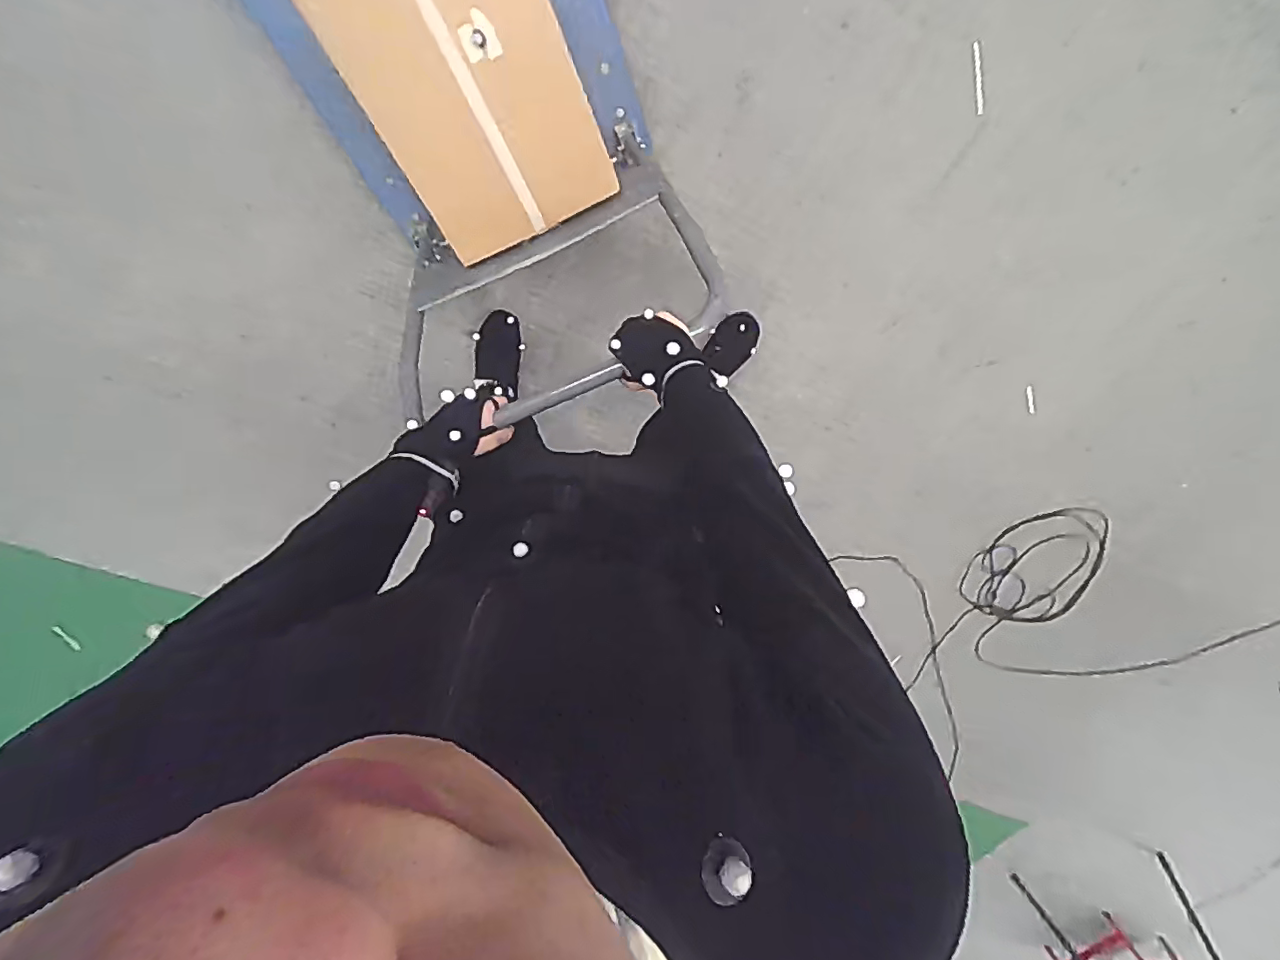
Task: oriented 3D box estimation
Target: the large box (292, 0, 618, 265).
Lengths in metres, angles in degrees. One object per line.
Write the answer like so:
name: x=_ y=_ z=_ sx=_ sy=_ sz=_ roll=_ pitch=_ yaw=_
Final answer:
large box: x=-0.274 y=-0.669 z=0.934 sx=0.320 sy=0.320 sz=0.408 roll=-24 pitch=133 yaw=7
